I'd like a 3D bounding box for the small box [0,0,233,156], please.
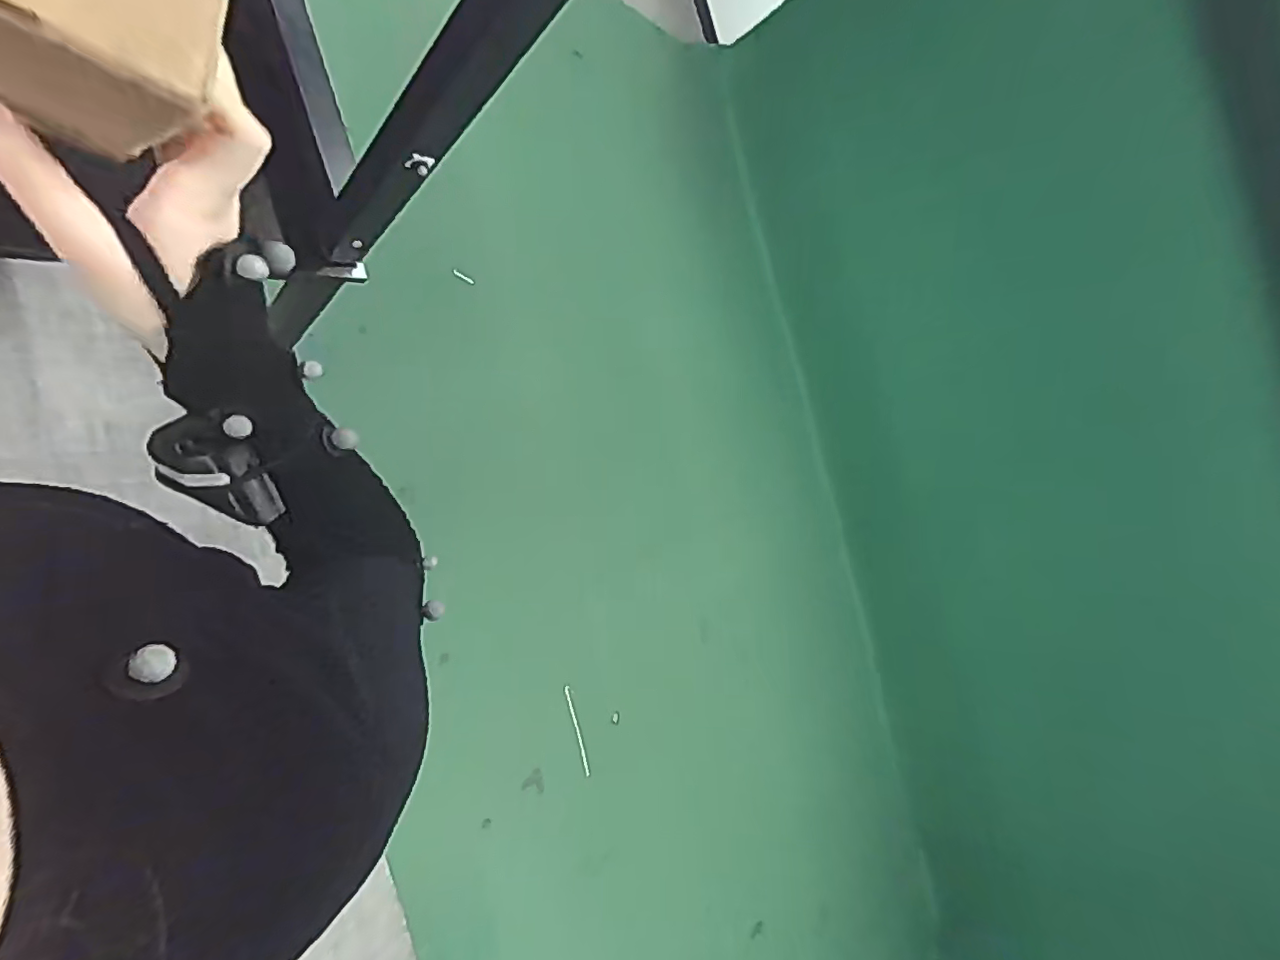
[{"bbox_3d":[-0.209,-0.213,0.133,0.168,0.176,0.179,9,101,-51],"label":"small box"}]
